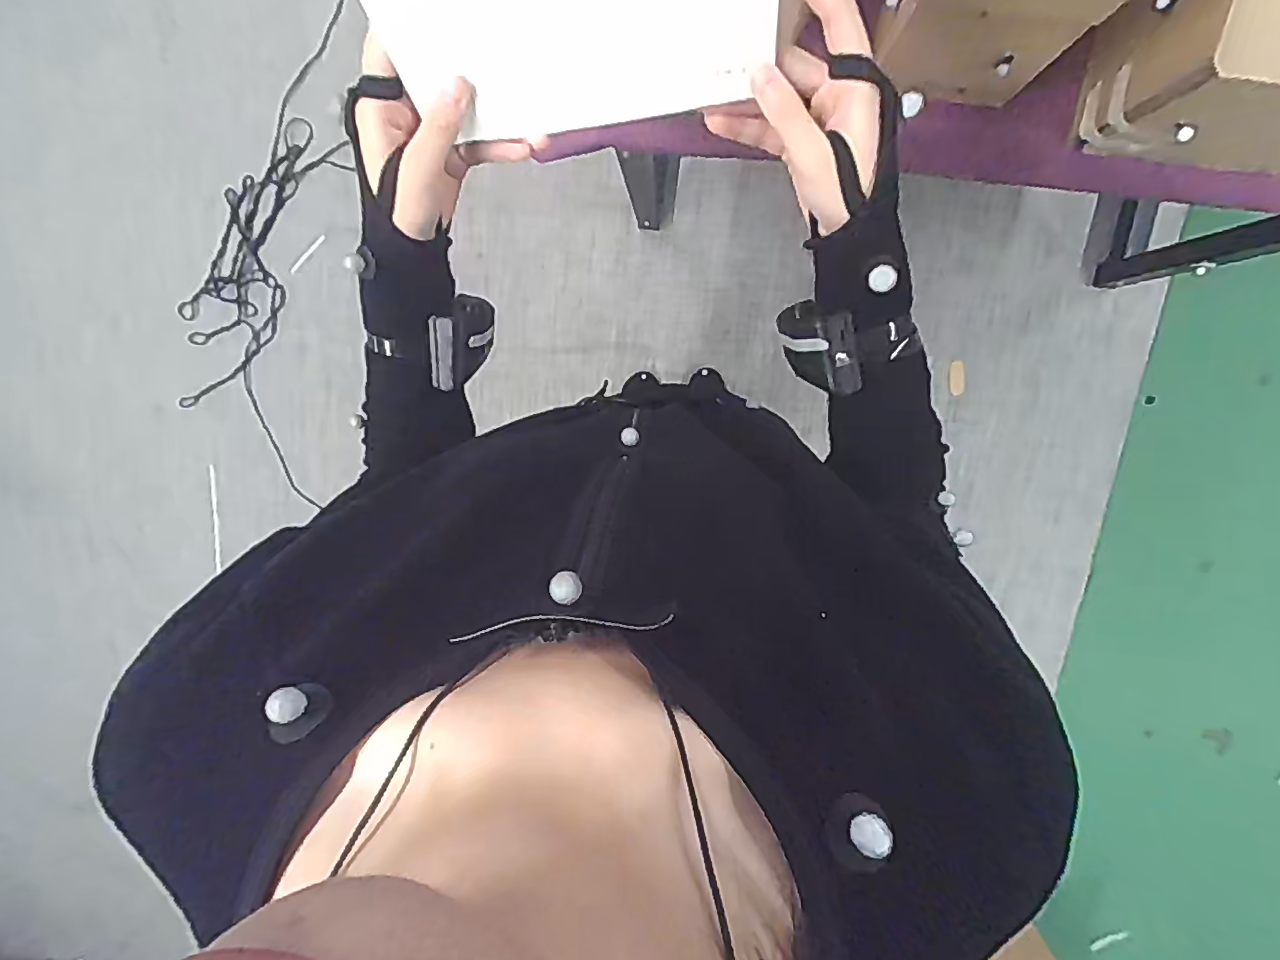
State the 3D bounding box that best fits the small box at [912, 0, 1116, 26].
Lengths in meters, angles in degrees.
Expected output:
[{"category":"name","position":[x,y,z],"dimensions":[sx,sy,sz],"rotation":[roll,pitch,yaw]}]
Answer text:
[{"category":"small box","position":[0.341,-0.492,0.409],"dimensions":[0.179,0.176,0.168],"rotation":[9,99,3]}]
